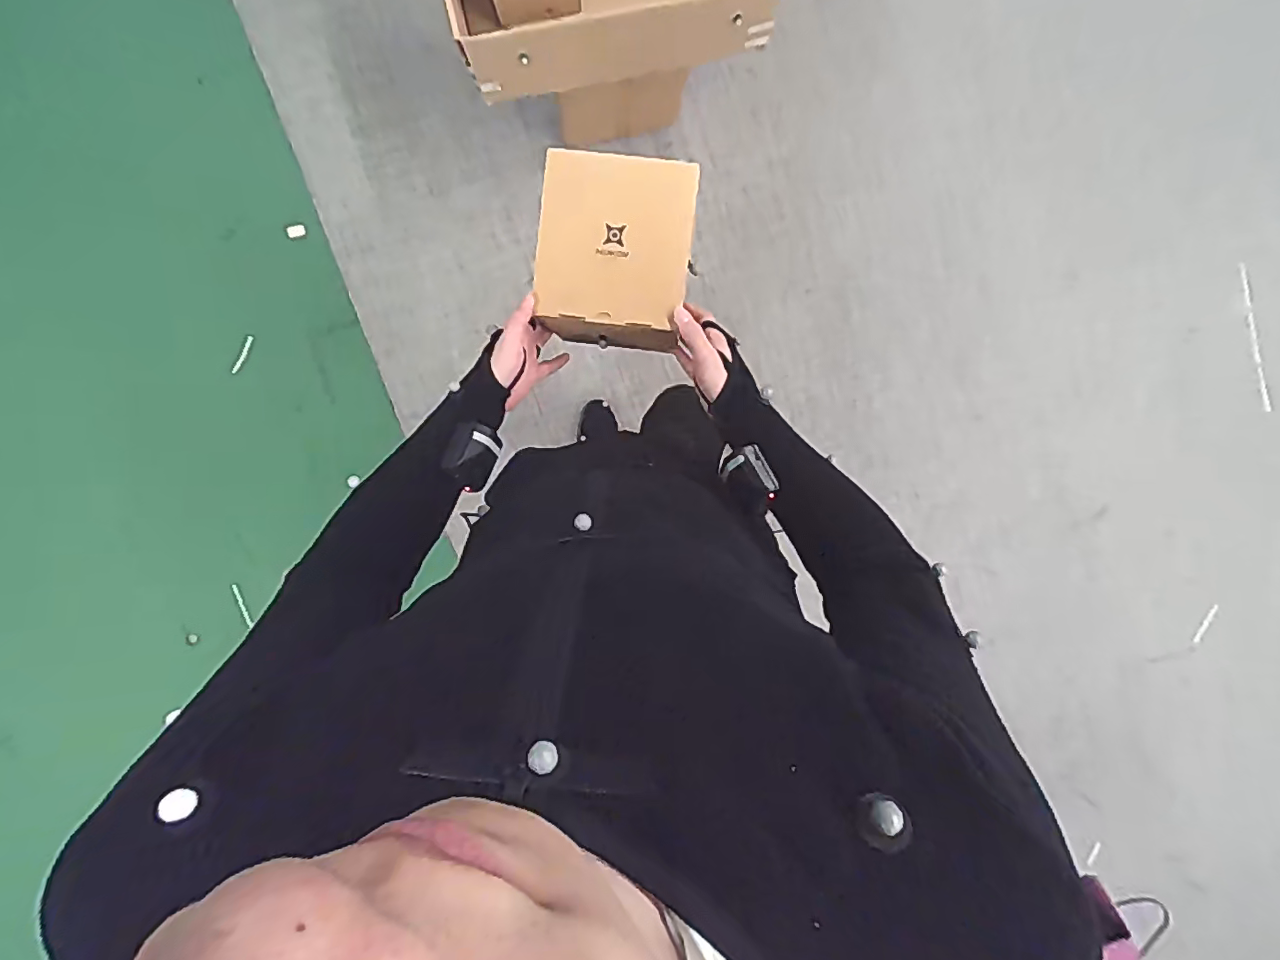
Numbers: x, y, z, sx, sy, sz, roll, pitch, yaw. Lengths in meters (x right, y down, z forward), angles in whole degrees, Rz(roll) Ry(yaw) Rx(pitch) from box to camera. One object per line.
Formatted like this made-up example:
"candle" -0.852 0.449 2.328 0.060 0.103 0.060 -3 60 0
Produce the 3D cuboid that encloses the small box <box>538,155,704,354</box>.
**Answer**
"small box" -0.021 -0.261 0.664 0.168 0.176 0.179 7 97 1
